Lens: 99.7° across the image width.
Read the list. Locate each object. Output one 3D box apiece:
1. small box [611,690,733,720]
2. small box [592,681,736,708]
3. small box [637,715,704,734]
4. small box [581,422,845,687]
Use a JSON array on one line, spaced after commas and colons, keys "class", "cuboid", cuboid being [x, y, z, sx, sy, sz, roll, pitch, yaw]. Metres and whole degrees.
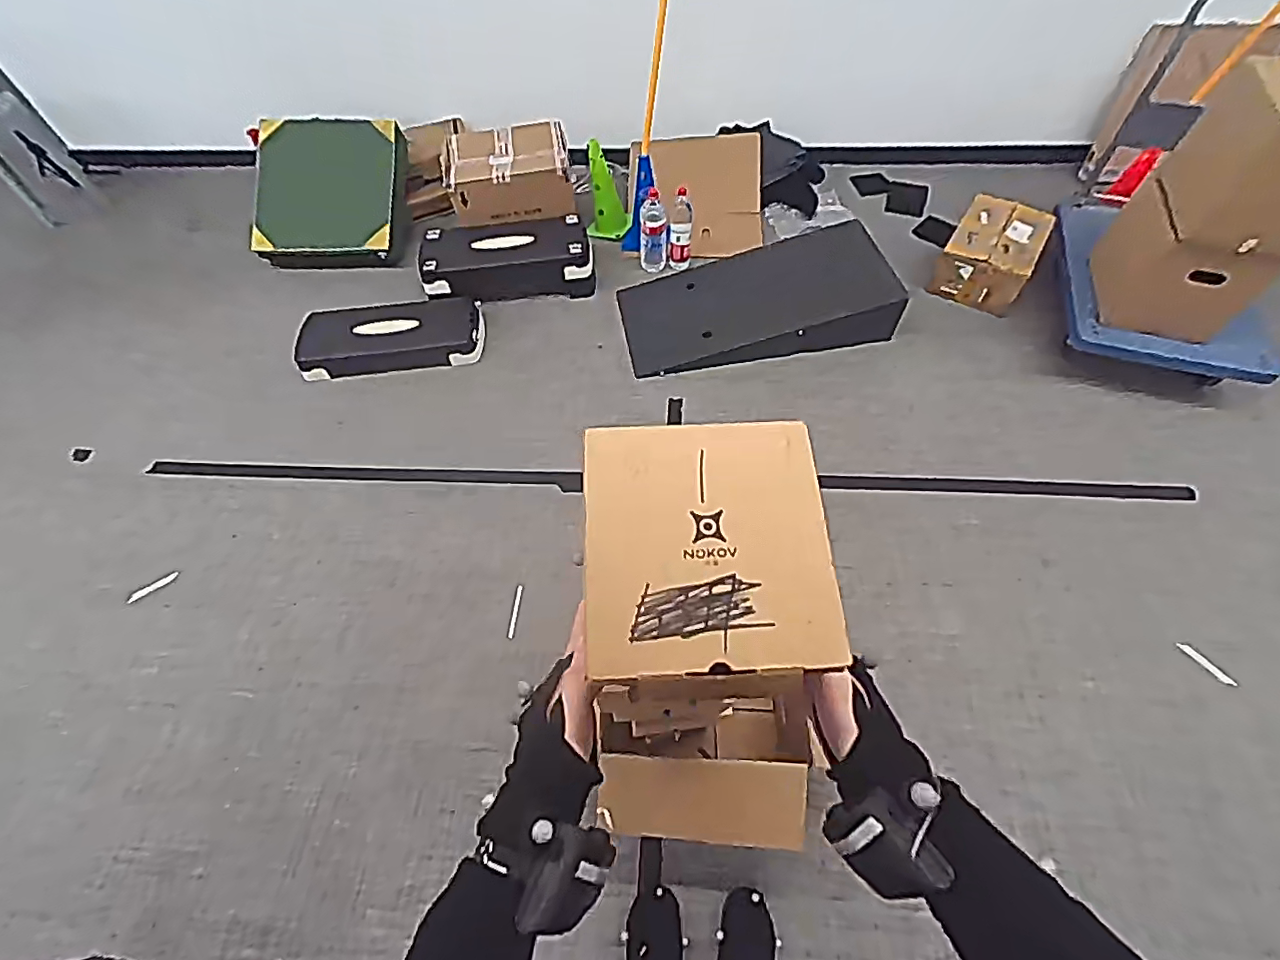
[{"class": "small box", "cuboid": [0.039, 0.280, 0.855, 0.179, 0.176, 0.168, -2, 61, -3]}, {"class": "small box", "cuboid": [0.024, 0.200, 0.713, 0.168, 0.176, 0.179, -1, 60, -3]}, {"class": "small box", "cuboid": [0.064, 0.426, 1.150, 0.179, 0.176, 0.168, -14, 61, -10]}, {"class": "small box", "cuboid": [0.042, 0.070, 0.435, 0.168, 0.176, 0.179, -2, 68, -2]}]
